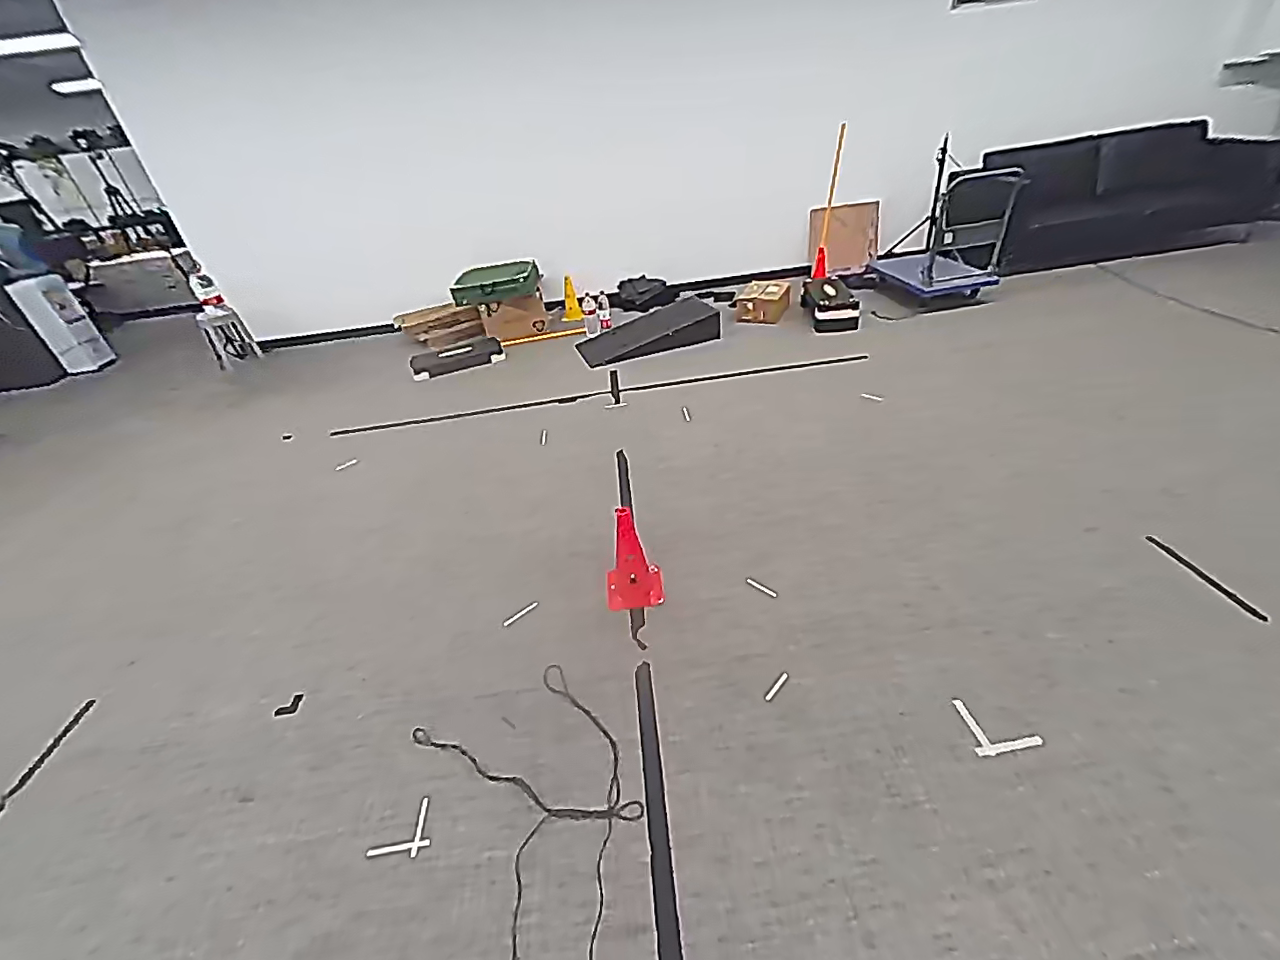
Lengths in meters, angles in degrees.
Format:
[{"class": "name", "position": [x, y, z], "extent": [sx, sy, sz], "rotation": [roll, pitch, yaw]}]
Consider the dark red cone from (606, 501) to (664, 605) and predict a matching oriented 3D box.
[{"class": "dark red cone", "position": [-0.042, 0.233, 1.858], "extent": [0.201, 0.394, 0.202], "rotation": [-9, 35, -1]}]
